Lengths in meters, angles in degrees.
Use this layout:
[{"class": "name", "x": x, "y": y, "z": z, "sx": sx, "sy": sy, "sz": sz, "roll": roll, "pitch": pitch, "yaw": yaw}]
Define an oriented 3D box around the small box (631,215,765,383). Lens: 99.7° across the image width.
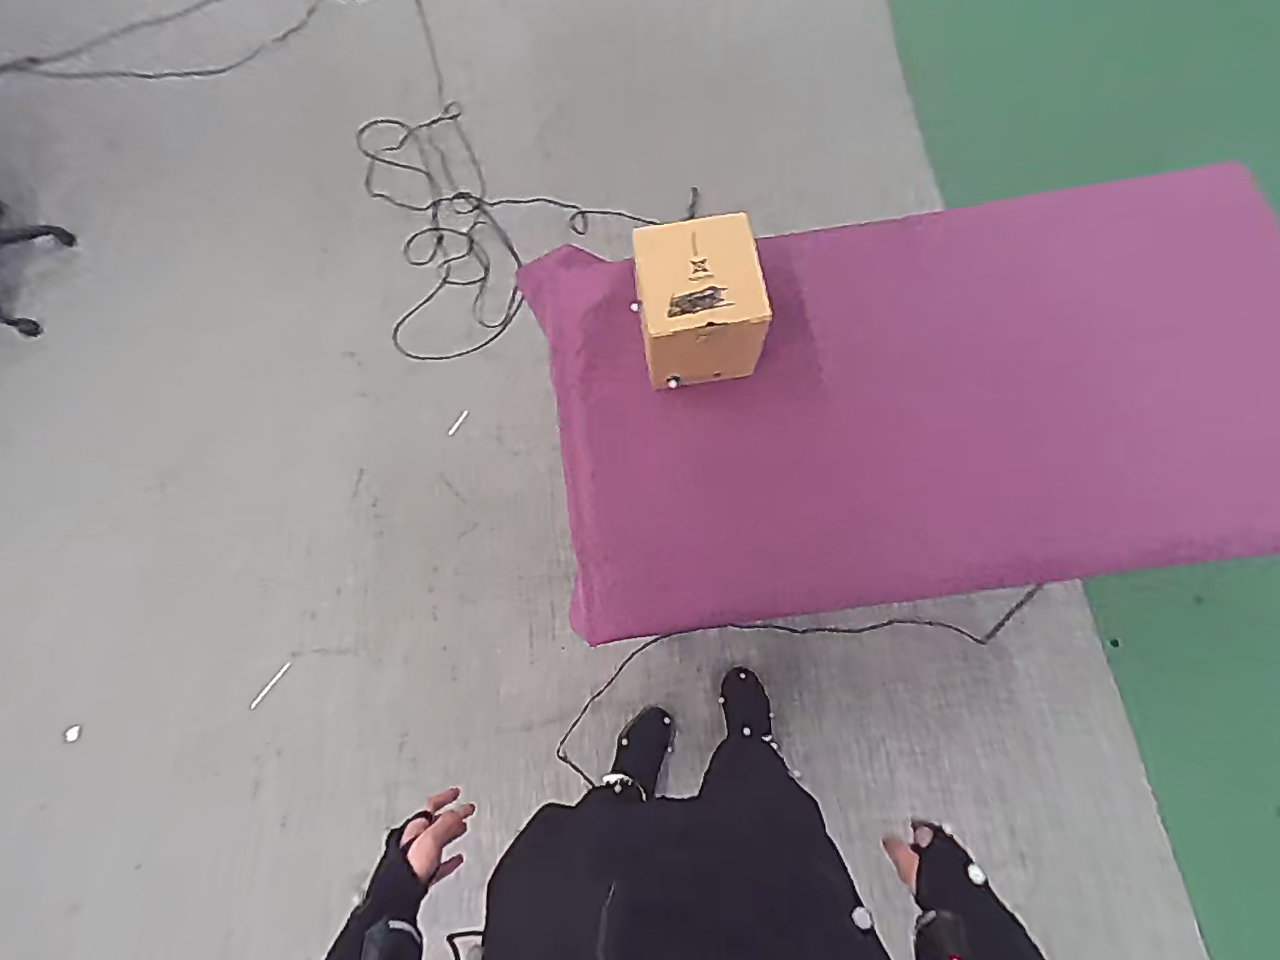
[{"class": "small box", "x": 0.082, "y": -0.260, "z": 0.820, "sx": 0.168, "sy": 0.176, "sz": 0.179, "roll": -8, "pitch": 73, "yaw": 0}]
